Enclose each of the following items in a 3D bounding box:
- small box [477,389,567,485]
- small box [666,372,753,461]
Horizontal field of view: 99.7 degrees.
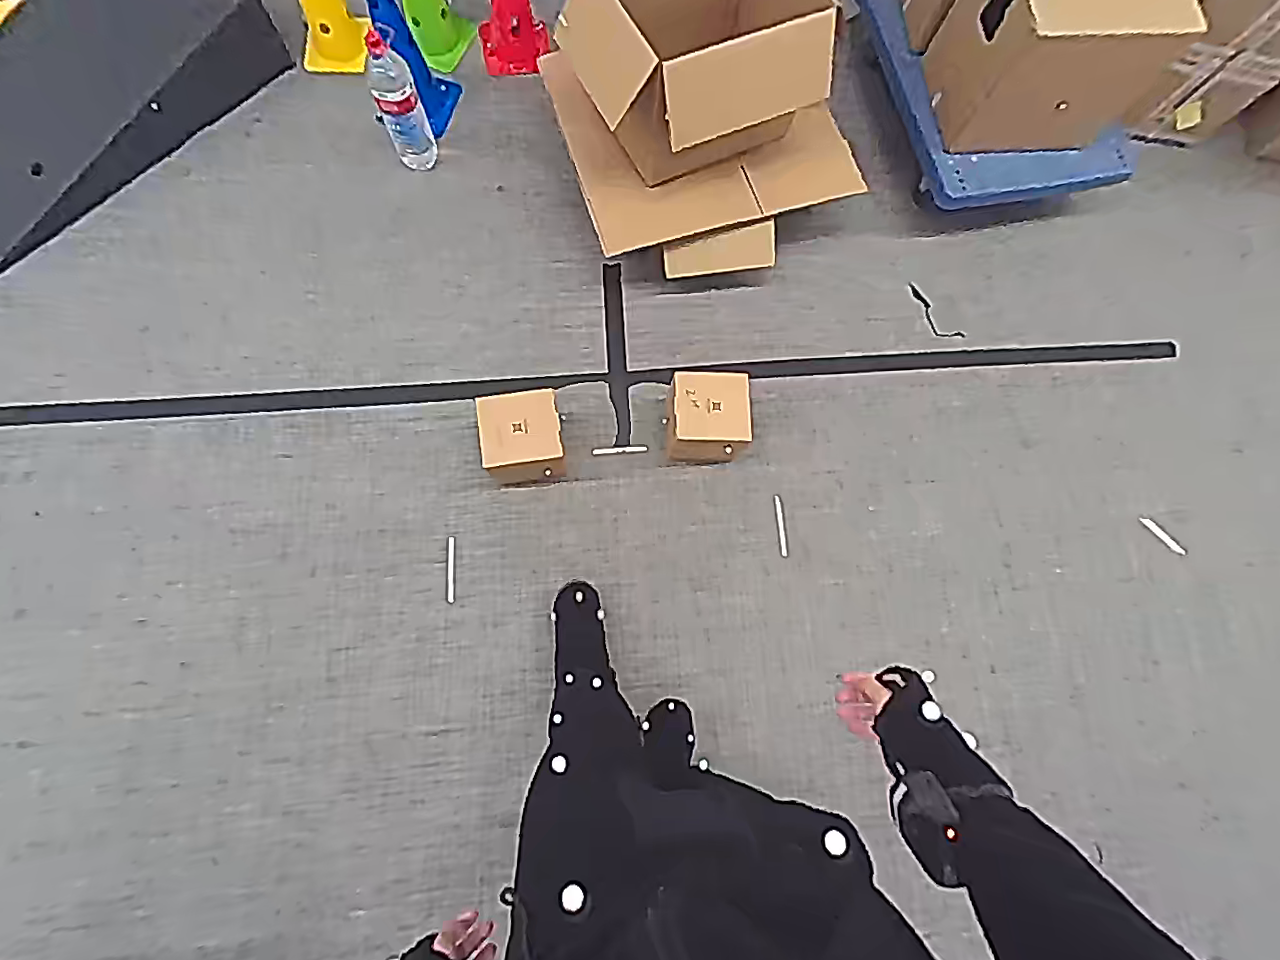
[{"bbox_3d":[-0.267,-0.094,1.258,0.179,0.176,0.168,-9,76,-5],"label":"small box"},{"bbox_3d":[0.161,-0.146,1.302,0.179,0.176,0.168,1,76,-5],"label":"small box"}]
